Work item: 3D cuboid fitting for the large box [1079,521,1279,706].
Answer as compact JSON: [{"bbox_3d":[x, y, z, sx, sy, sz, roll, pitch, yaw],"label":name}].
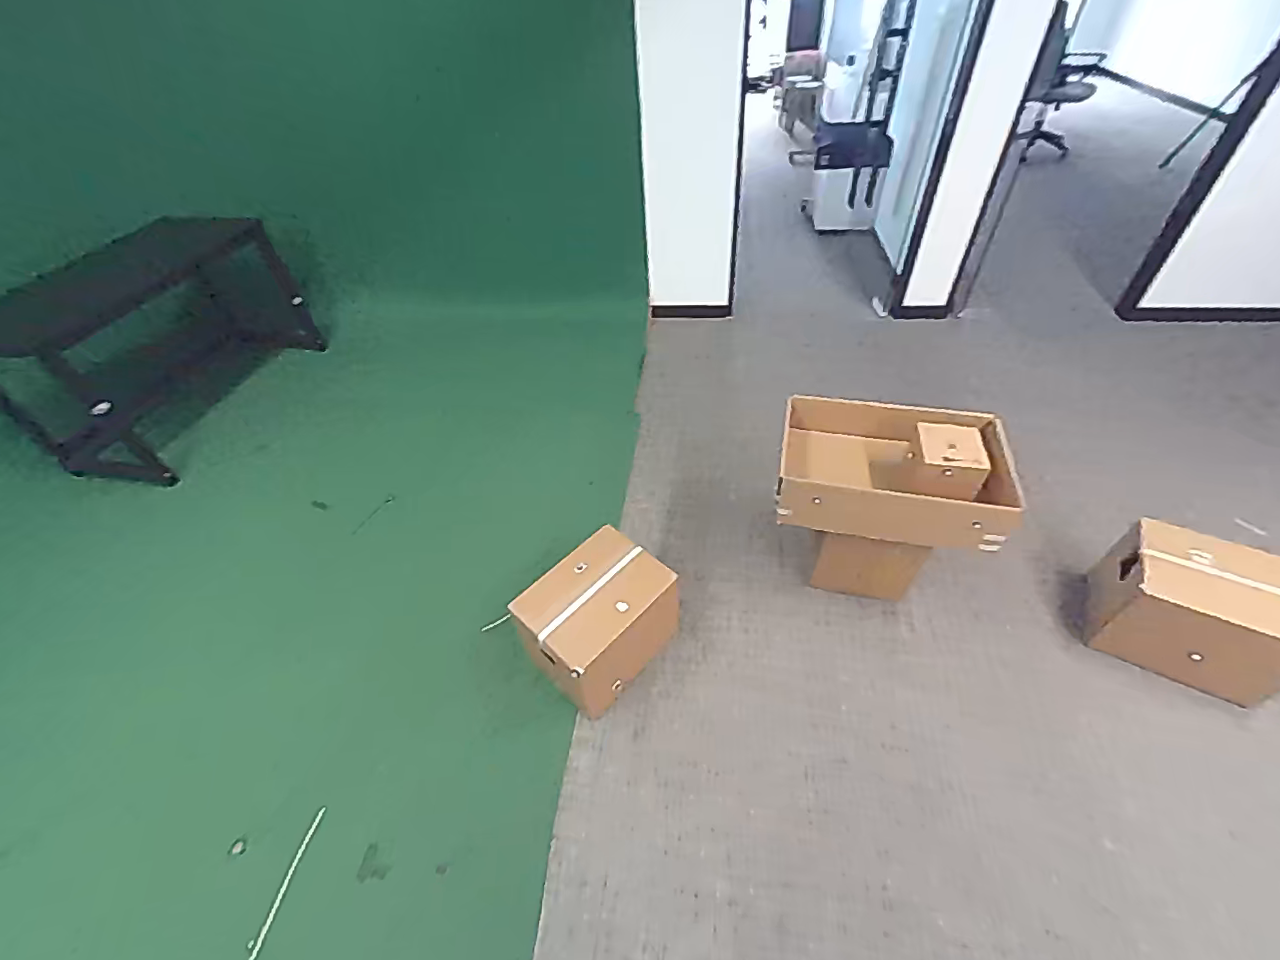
[{"bbox_3d":[1.606,0.387,1.587,0.408,0.320,0.320,21,50,24],"label":"large box"}]
